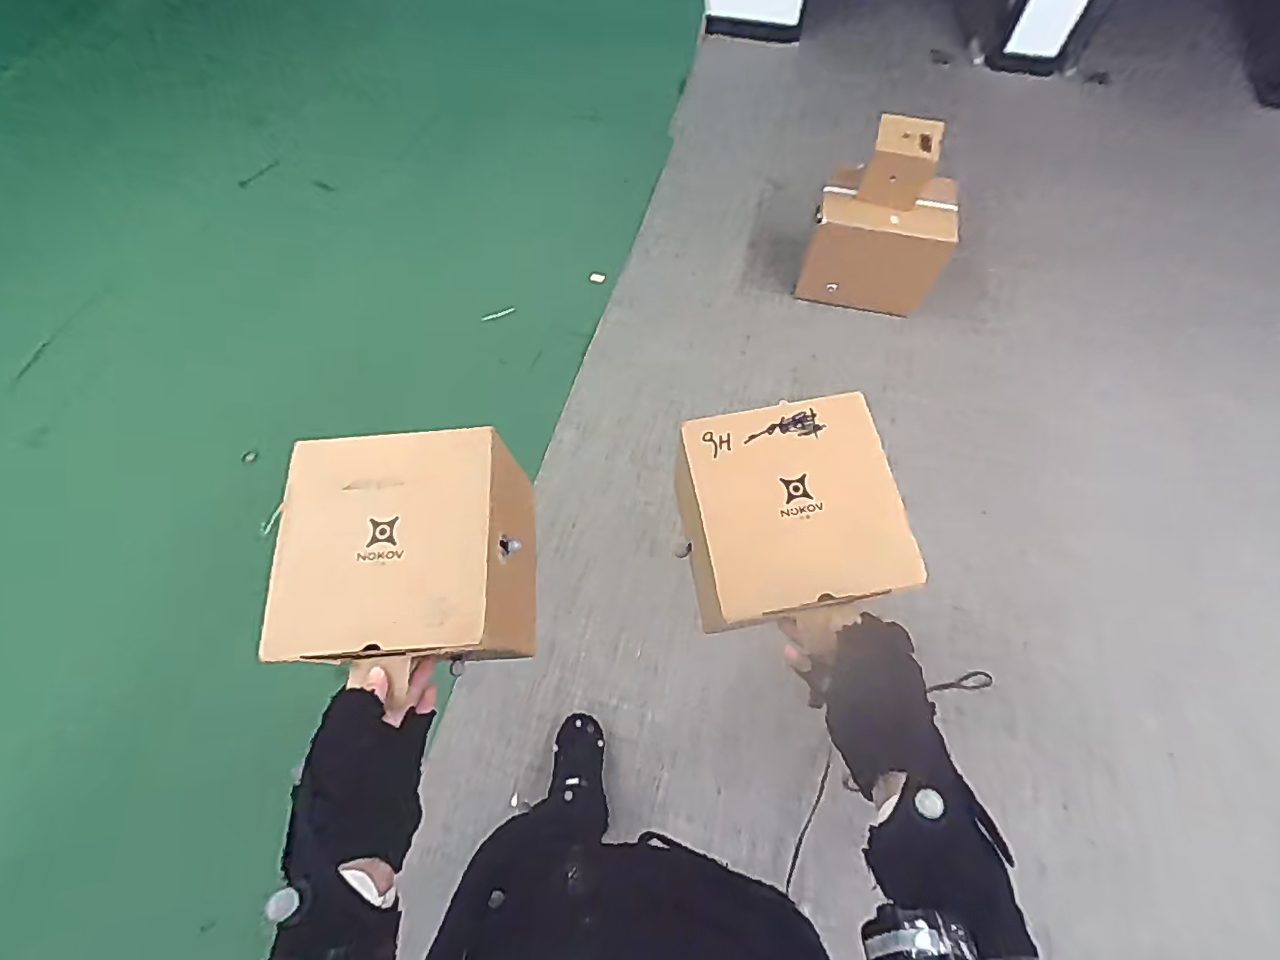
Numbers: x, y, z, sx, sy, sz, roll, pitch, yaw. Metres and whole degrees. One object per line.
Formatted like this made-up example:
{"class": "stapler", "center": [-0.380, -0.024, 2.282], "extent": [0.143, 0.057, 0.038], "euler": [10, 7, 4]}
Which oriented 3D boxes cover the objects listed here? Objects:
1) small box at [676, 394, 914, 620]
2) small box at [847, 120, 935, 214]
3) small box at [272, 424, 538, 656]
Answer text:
{"class": "small box", "center": [0.131, 0.040, 0.533], "extent": [0.168, 0.176, 0.179], "euler": [-9, 72, -2]}
{"class": "small box", "center": [0.751, -0.935, 1.628], "extent": [0.179, 0.176, 0.168], "euler": [19, 67, 9]}
{"class": "small box", "center": [-0.191, 0.067, 0.499], "extent": [0.168, 0.176, 0.179], "euler": [-4, 69, 0]}
